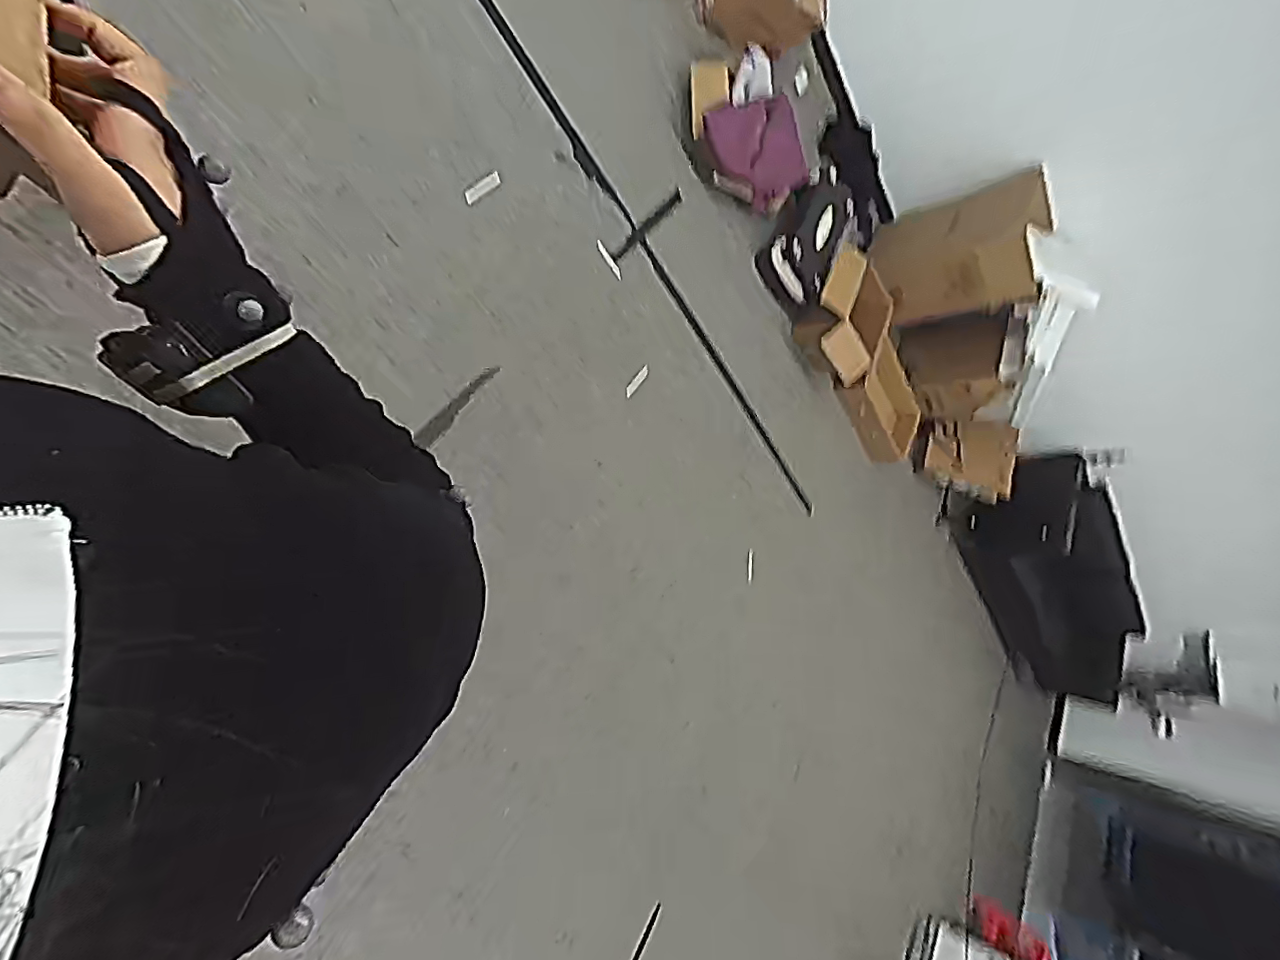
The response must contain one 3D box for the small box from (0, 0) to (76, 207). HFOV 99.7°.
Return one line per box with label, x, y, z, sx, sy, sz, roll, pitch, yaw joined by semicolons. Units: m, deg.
small box;-0.376;-0.247;0.231;0.168;0.176;0.179;-2;98;-54
